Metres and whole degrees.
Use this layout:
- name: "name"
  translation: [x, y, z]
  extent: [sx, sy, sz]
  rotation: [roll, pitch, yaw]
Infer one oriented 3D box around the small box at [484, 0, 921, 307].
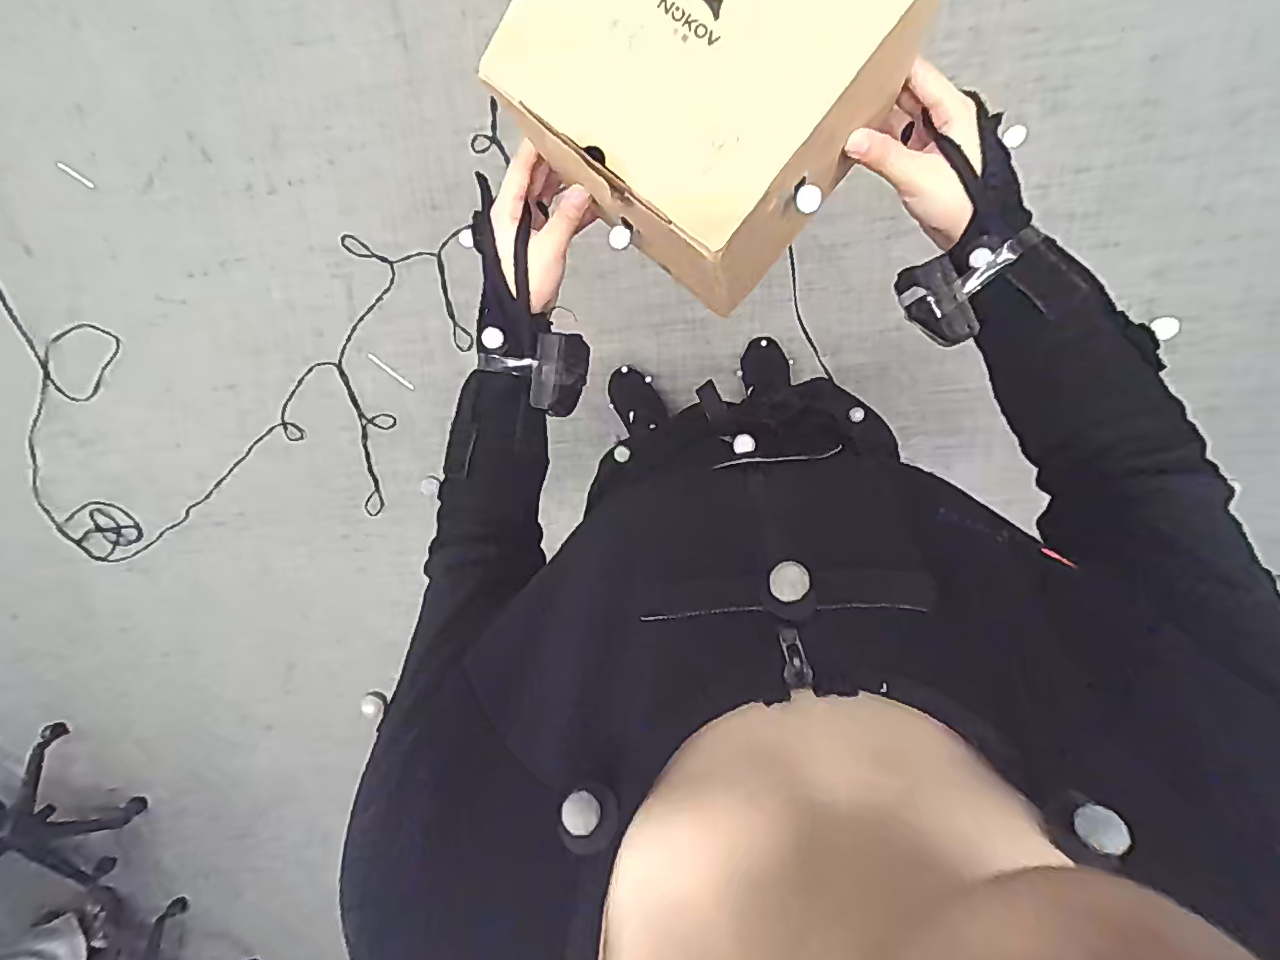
- name: "small box"
  translation: [0.045, -0.237, 0.343]
  extent: [0.168, 0.176, 0.179]
  rotation: [41, 103, 5]
